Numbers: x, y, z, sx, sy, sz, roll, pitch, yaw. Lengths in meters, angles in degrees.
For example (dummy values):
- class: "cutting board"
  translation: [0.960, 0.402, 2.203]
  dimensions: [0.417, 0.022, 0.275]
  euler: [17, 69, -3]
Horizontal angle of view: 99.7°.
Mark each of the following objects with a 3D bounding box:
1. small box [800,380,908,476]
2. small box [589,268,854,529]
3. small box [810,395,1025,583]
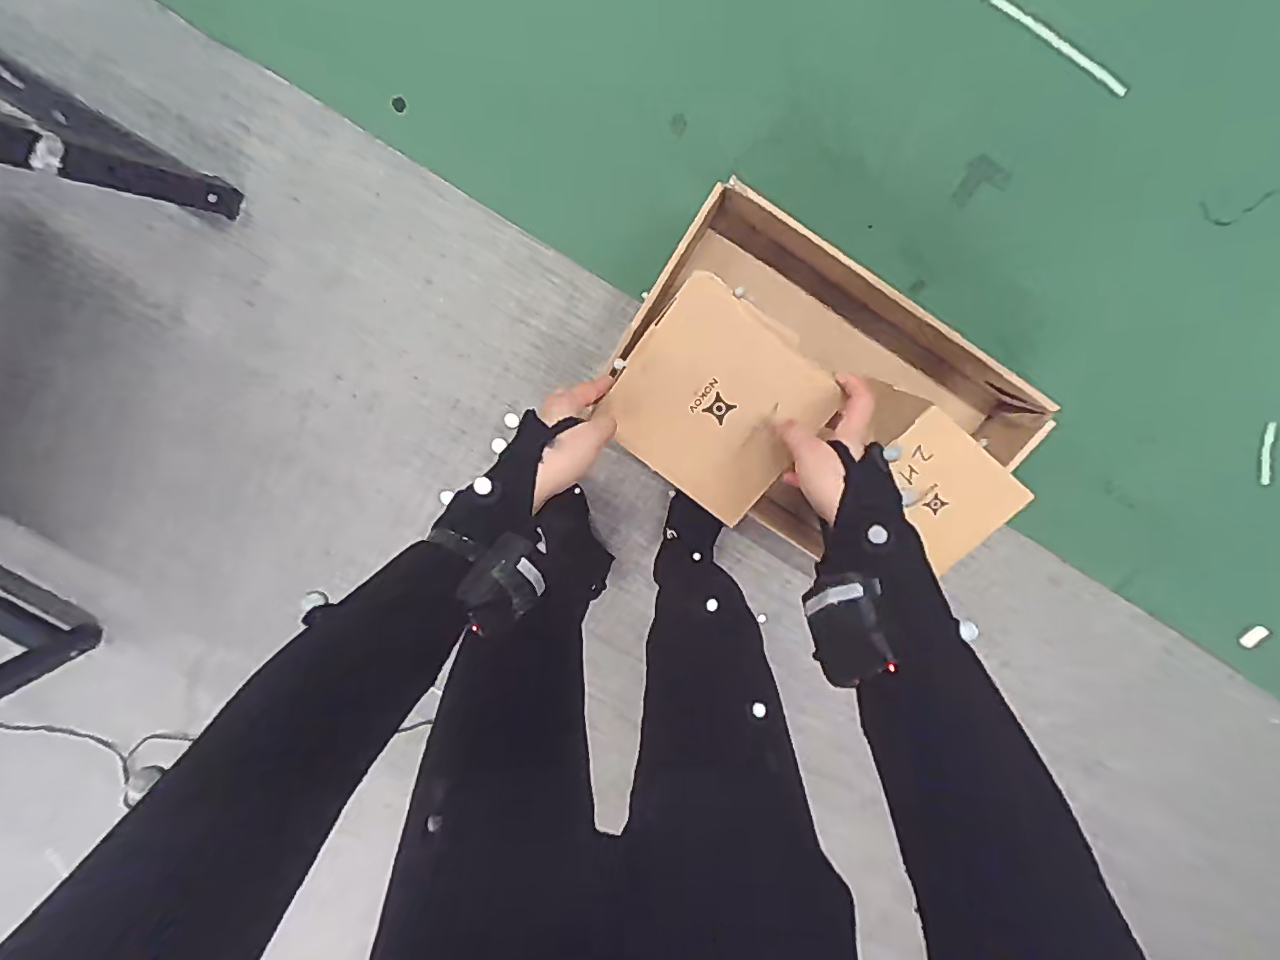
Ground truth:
- class: "small box"
  translation: [0.383, -0.048, 0.904]
  dimensions: [0.168, 0.176, 0.179]
  euler: [40, 107, -6]
- class: "small box"
  translation: [0.075, -0.086, 0.552]
  dimensions: [0.179, 0.176, 0.168]
  euler: [37, 107, -7]
- class: "small box"
  translation: [0.365, 0.001, 0.748]
  dimensions: [0.179, 0.176, 0.168]
  euler: [41, 106, -6]
